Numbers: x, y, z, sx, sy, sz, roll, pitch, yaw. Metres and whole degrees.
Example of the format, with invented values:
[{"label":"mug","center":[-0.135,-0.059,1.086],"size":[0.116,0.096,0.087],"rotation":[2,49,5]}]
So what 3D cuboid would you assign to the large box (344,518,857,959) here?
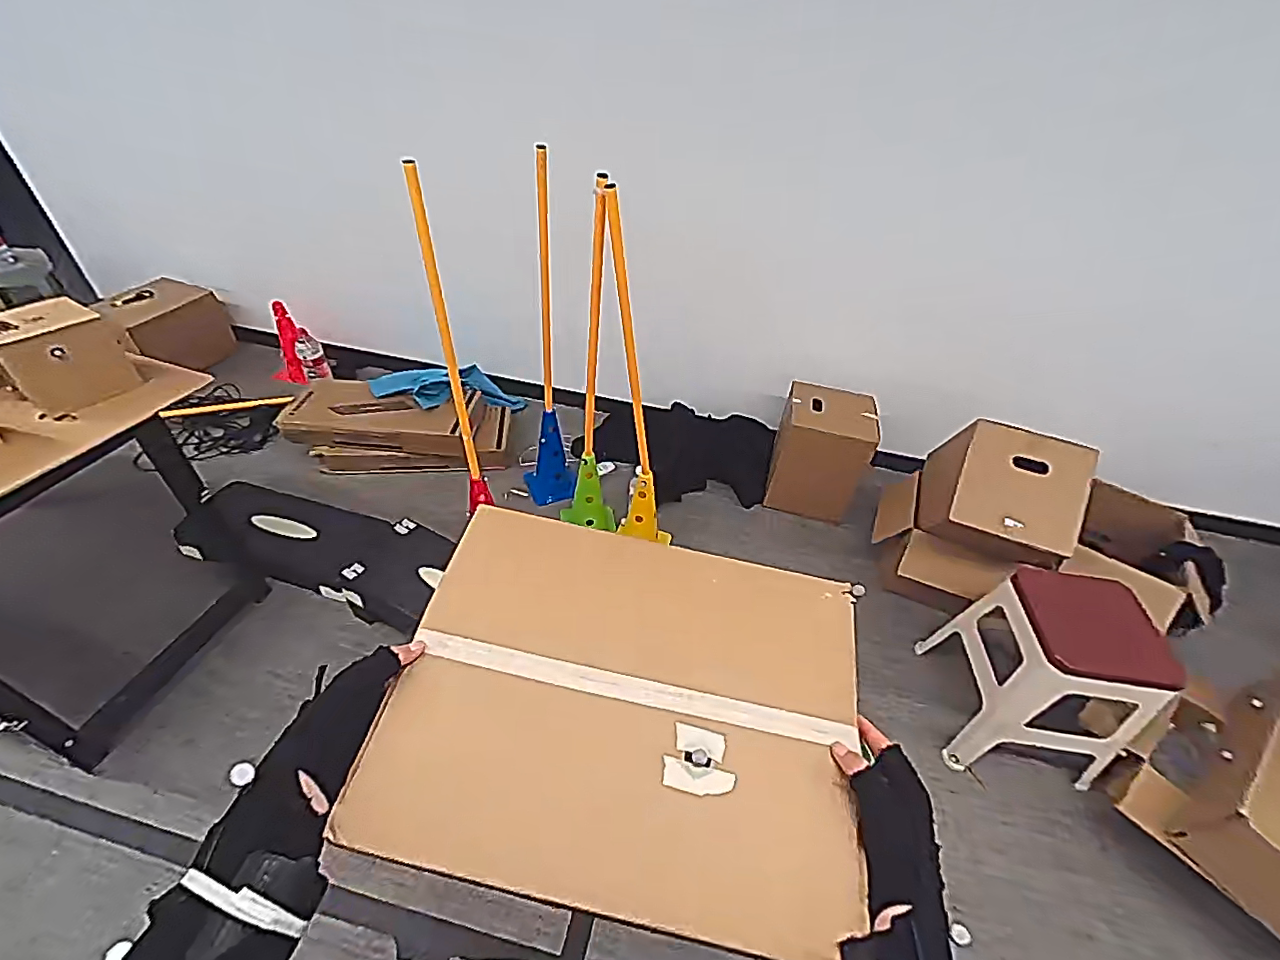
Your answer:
[{"label":"large box","center":[-0.022,0.287,0.611],"size":[0.408,0.320,0.320],"rotation":[13,52,3]}]
